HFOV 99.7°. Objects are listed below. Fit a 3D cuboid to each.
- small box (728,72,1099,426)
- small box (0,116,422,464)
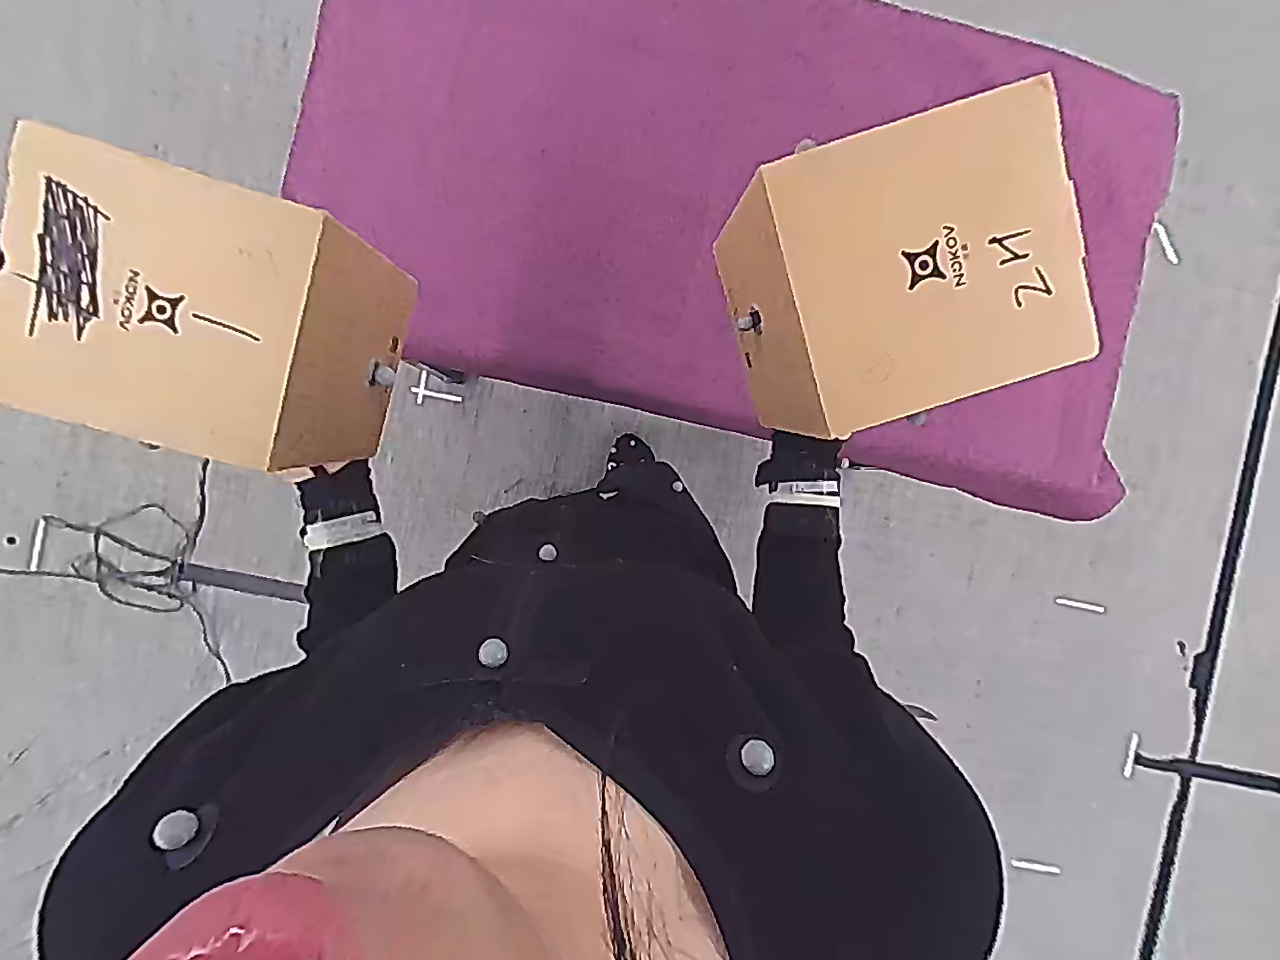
[{"bbox_3d":[0.173,-0.143,0.400,0.179,0.176,0.168,-18,99,0],"label":"small box"},{"bbox_3d":[-0.290,-0.116,0.401,0.179,0.176,0.168,15,95,-6],"label":"small box"}]
